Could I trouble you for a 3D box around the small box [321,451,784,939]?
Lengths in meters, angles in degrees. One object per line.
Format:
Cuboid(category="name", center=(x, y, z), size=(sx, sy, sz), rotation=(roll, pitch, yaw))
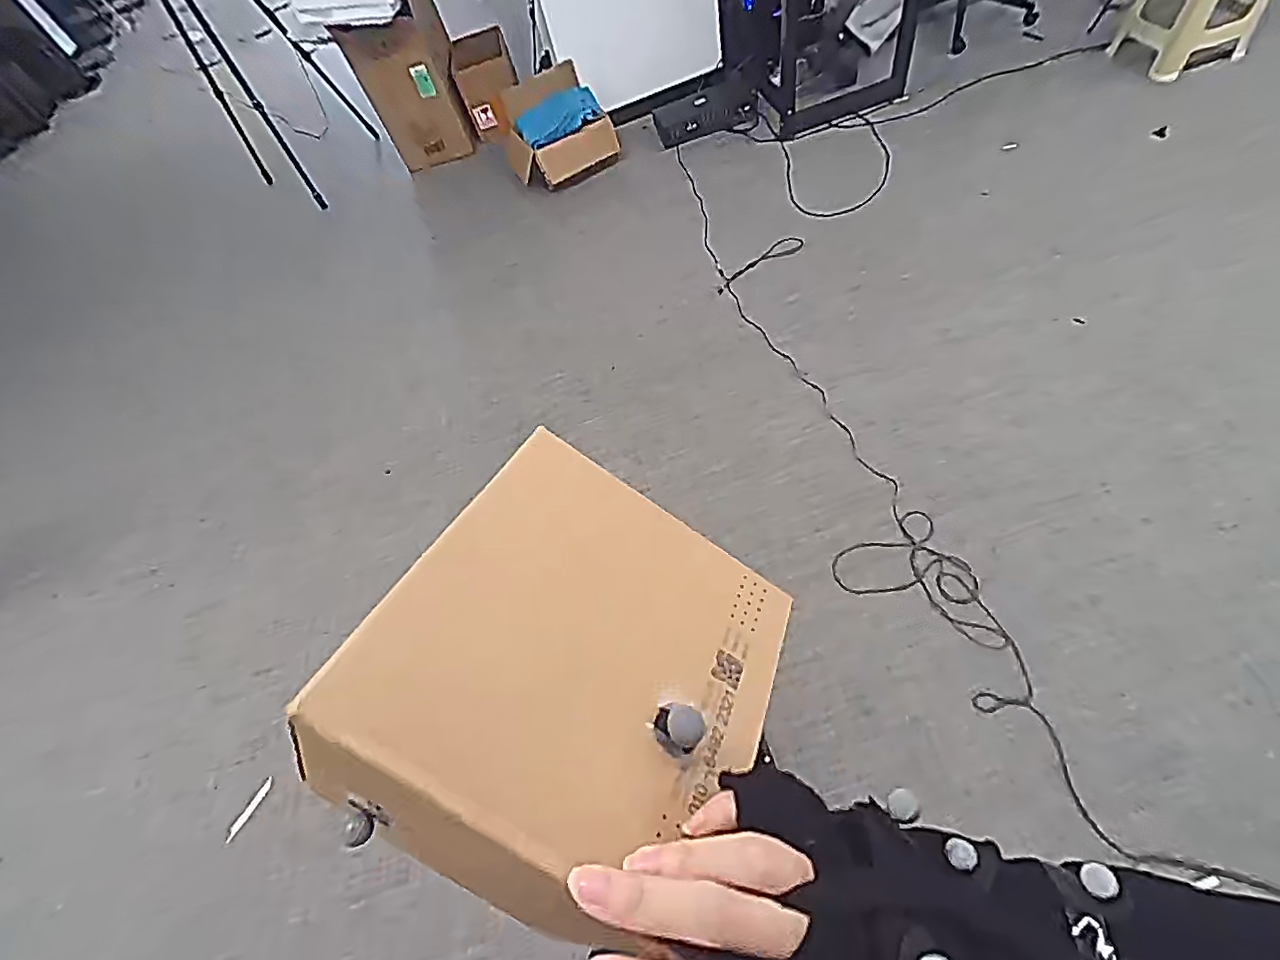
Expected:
Cuboid(category="small box", center=(-0.047, 0.124, 0.312), size=(0.176, 0.179, 0.168), rotation=(34, 46, -3))
